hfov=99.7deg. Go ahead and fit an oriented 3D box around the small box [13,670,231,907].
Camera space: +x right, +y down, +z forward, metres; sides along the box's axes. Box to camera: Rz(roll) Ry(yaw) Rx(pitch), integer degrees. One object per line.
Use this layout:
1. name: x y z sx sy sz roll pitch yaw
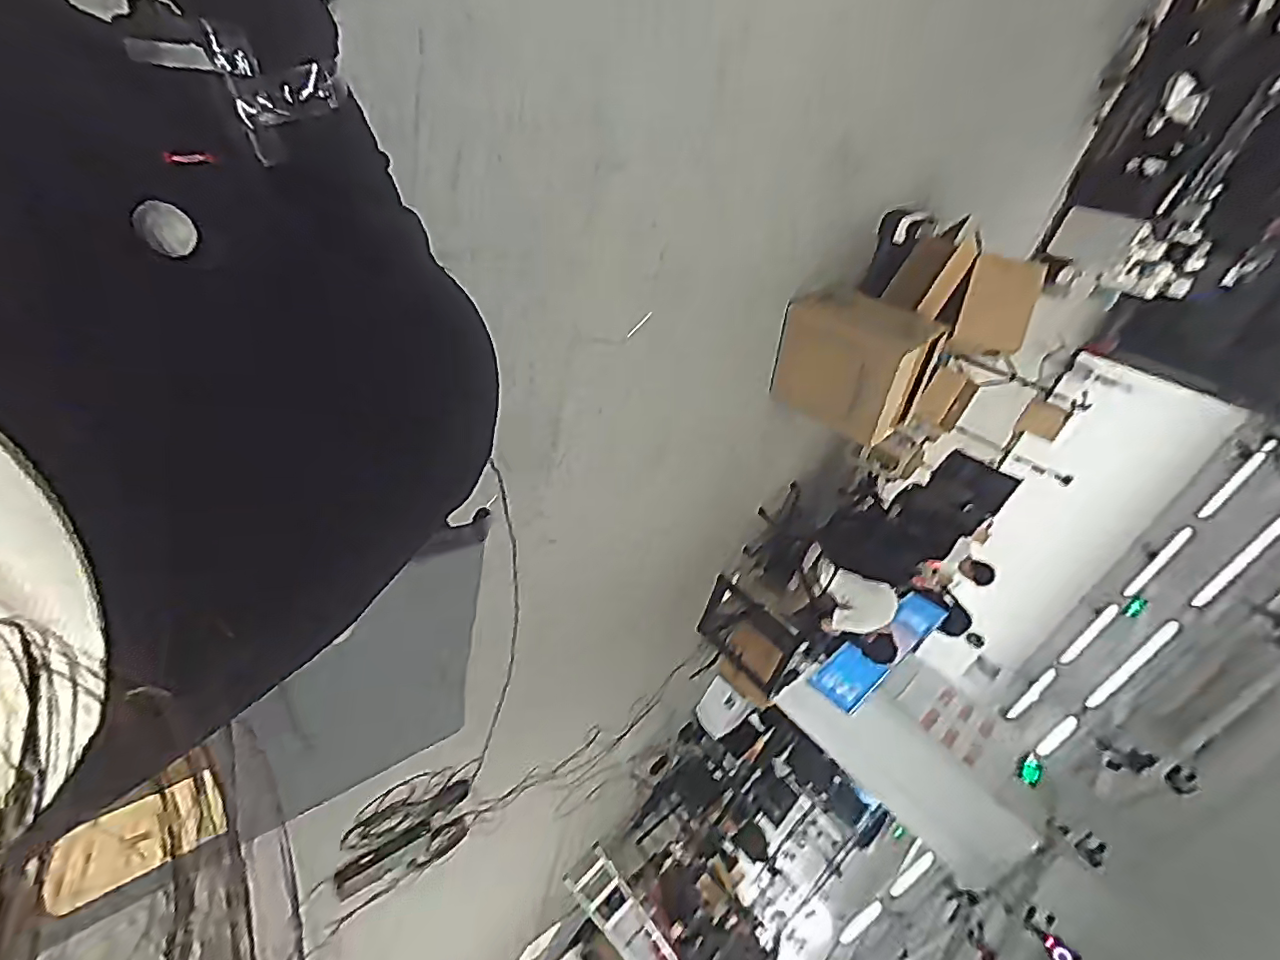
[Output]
1. small box: -0.675 0.392 0.714 0.179 0.176 0.168 -17 135 -43
